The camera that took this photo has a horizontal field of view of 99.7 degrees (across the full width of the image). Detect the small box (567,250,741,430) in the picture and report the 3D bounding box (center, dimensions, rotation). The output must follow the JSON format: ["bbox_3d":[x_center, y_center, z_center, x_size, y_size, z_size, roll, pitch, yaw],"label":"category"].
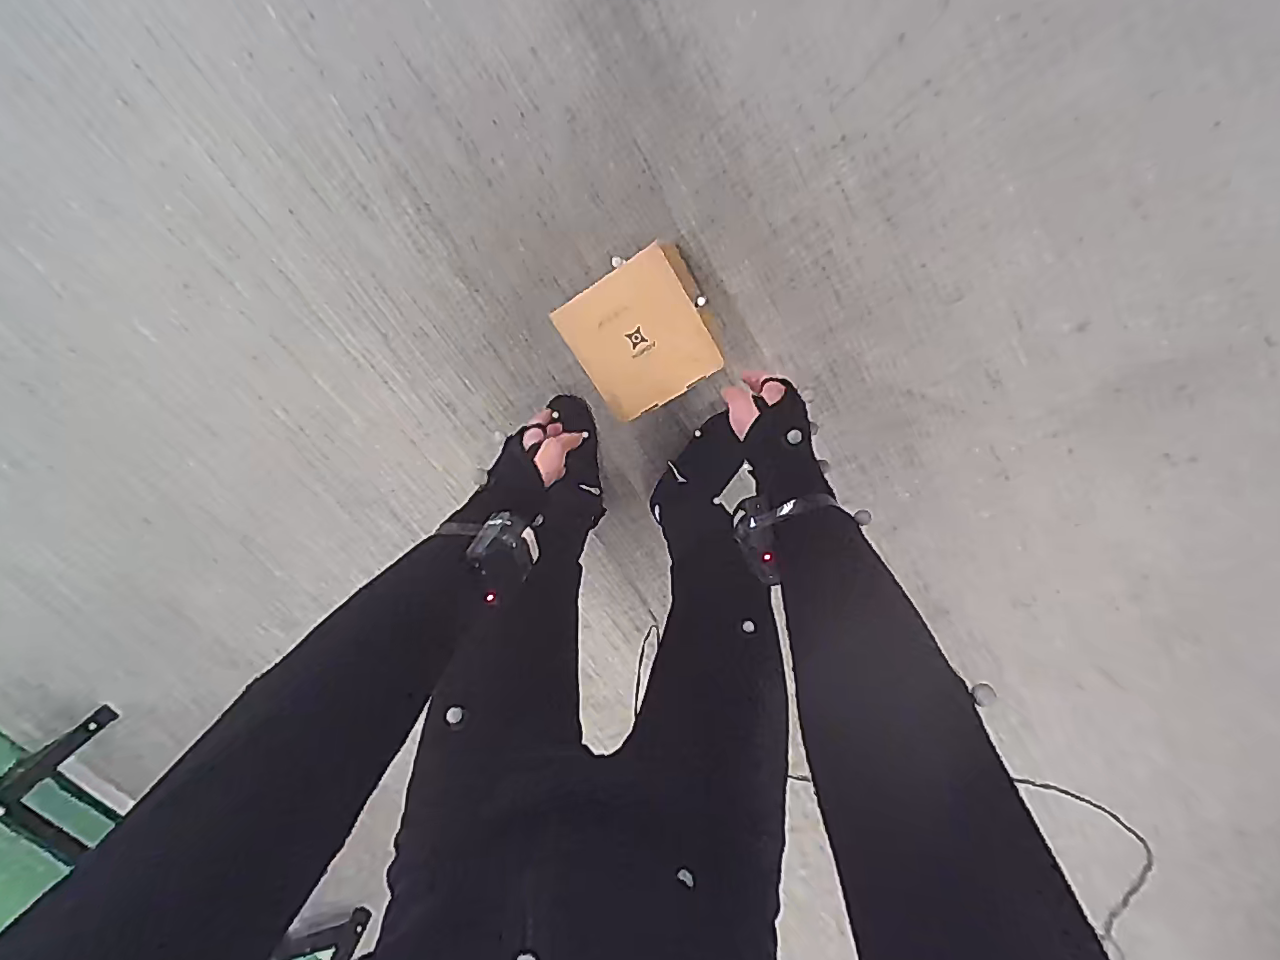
[{"bbox_3d":[0.027,-0.202,0.756,0.168,0.176,0.179,-28,107,17],"label":"small box"}]
